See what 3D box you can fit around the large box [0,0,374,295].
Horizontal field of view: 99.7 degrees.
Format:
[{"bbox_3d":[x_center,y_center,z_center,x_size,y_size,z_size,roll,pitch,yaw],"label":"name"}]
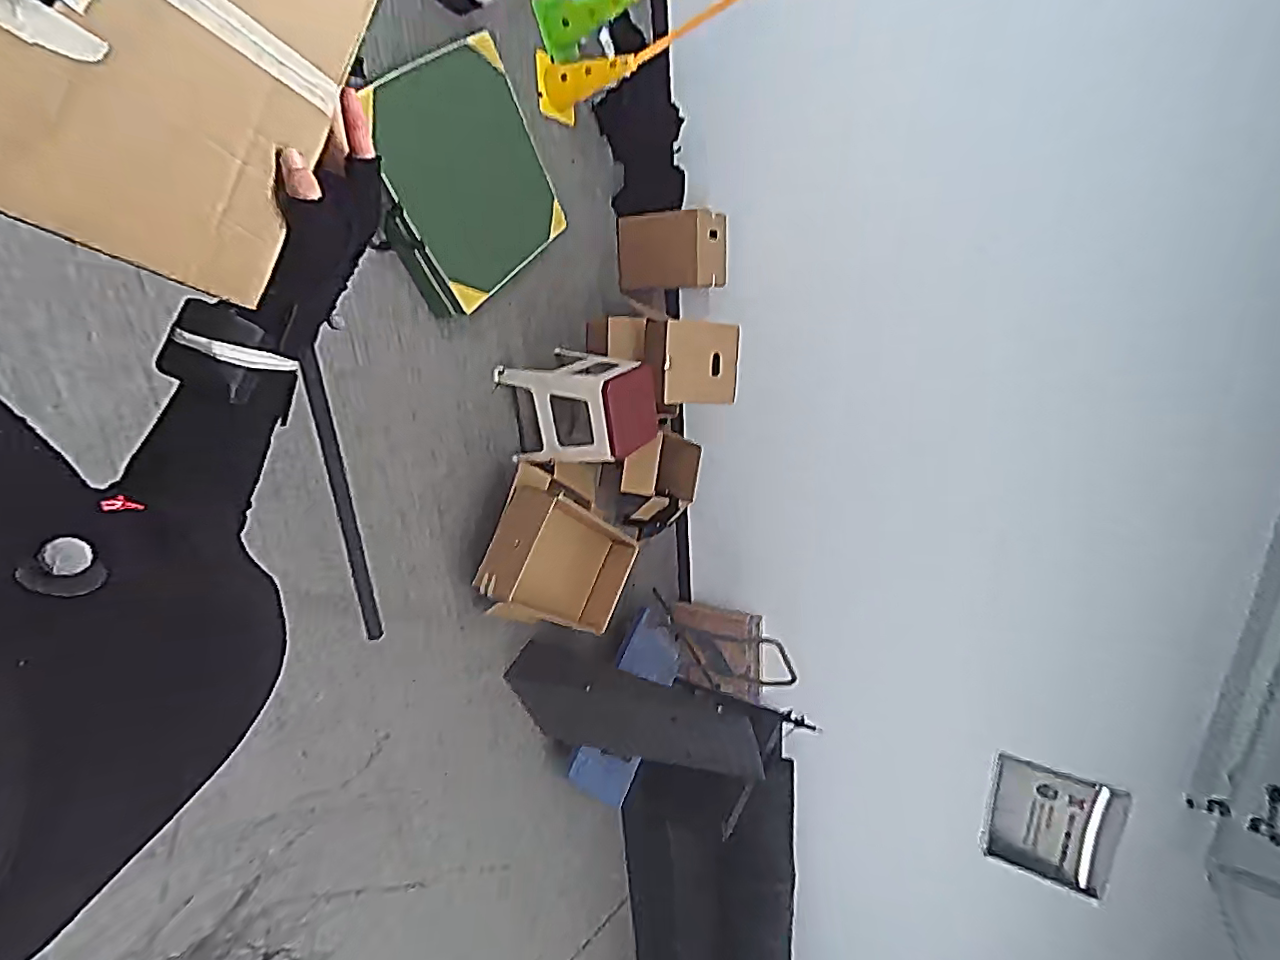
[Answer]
[{"bbox_3d":[-0.443,-0.362,0.321,0.408,0.320,0.320,19,97,-54],"label":"large box"}]
